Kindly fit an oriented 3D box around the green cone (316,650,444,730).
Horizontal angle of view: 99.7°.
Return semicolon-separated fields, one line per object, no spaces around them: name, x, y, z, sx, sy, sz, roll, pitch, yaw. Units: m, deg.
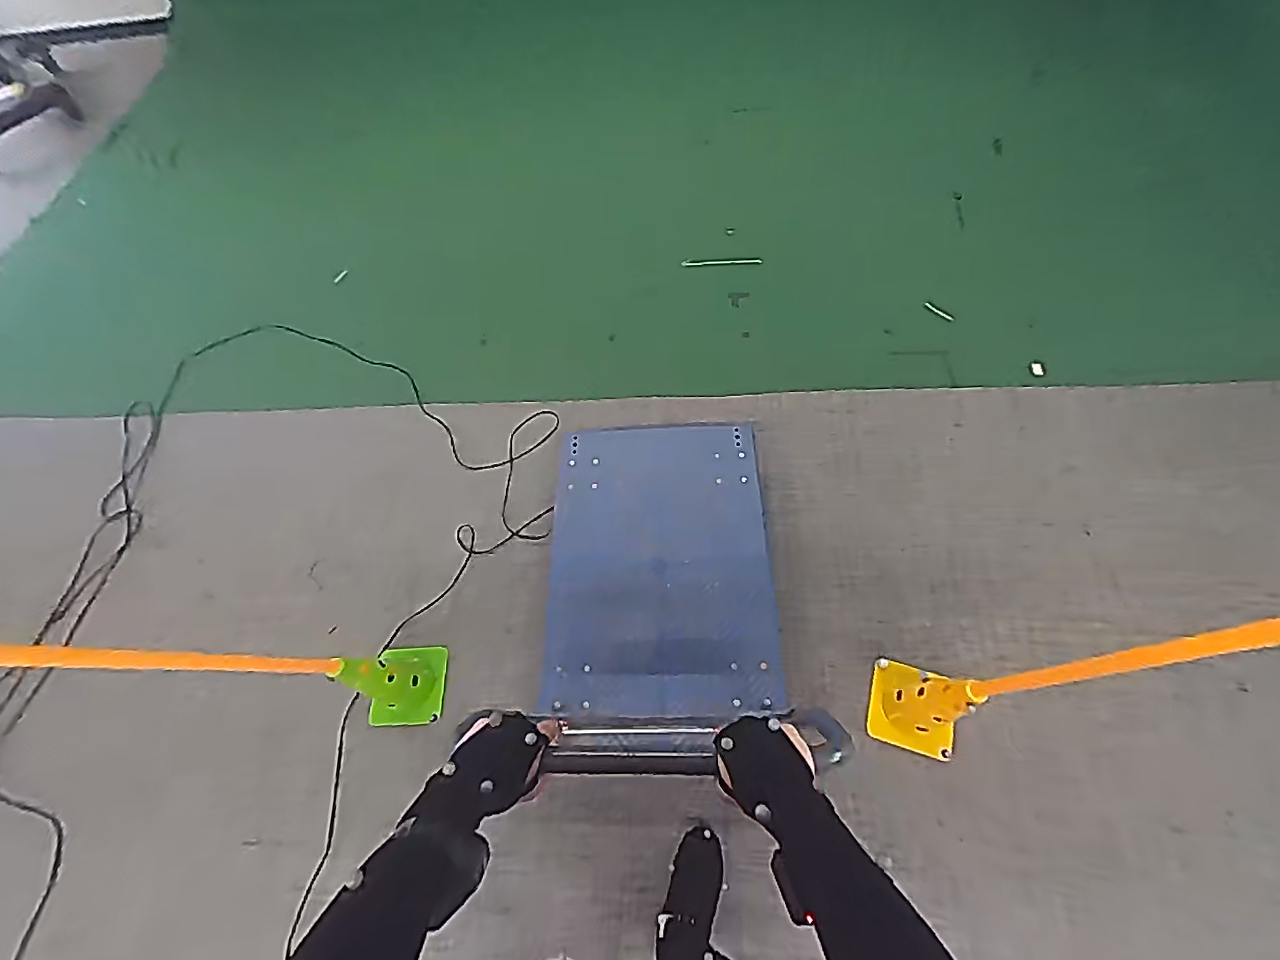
green cone;-0.660;0.493;1.330;0.202;0.368;0.200;-5;62;5
